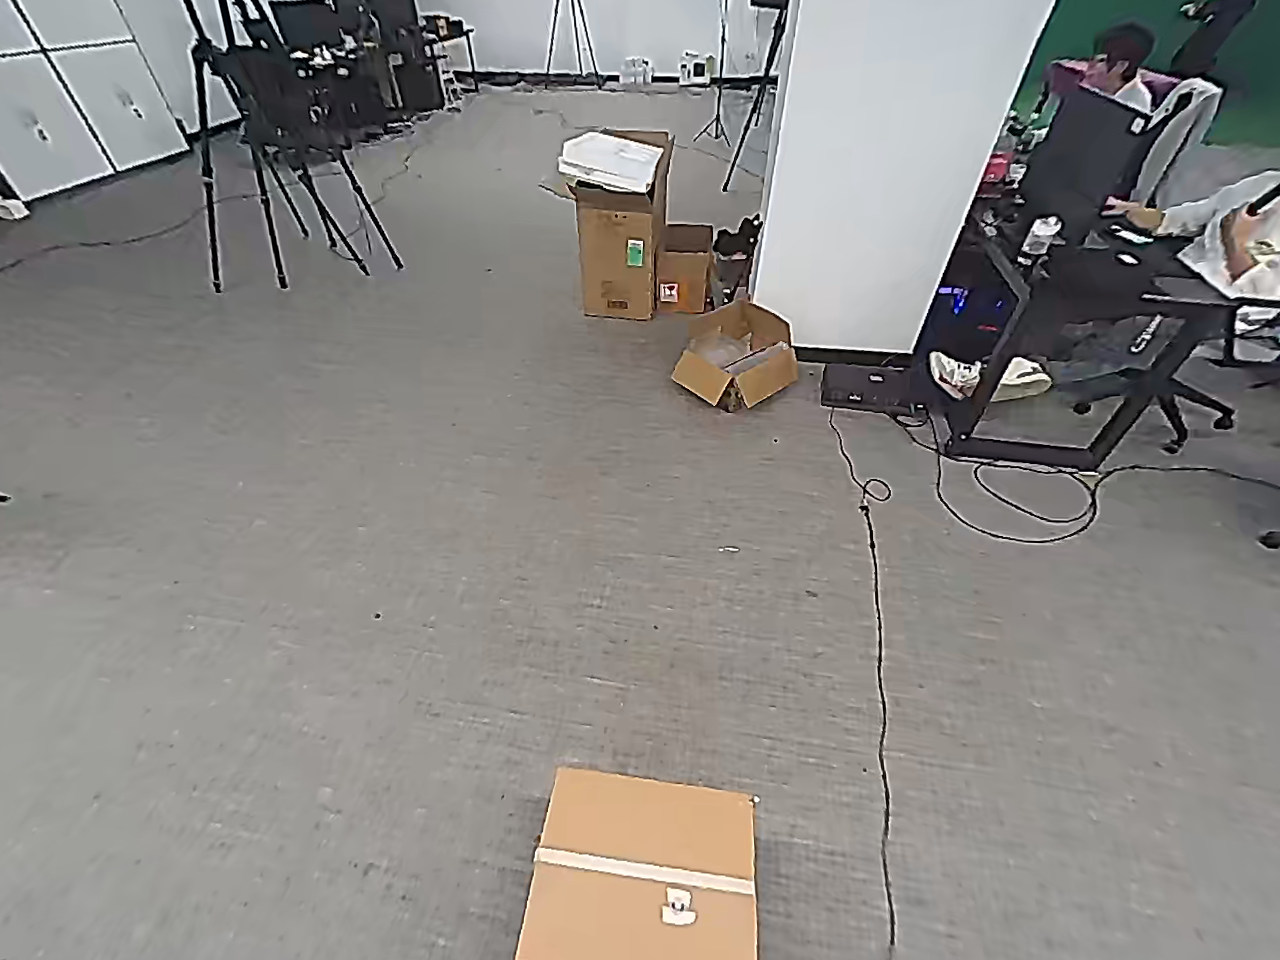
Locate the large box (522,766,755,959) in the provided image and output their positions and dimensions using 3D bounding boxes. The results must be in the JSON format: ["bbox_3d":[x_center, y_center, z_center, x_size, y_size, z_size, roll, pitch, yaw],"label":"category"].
[{"bbox_3d":[0.007,0.831,1.112,0.408,0.320,0.320,6,45,5],"label":"large box"}]
